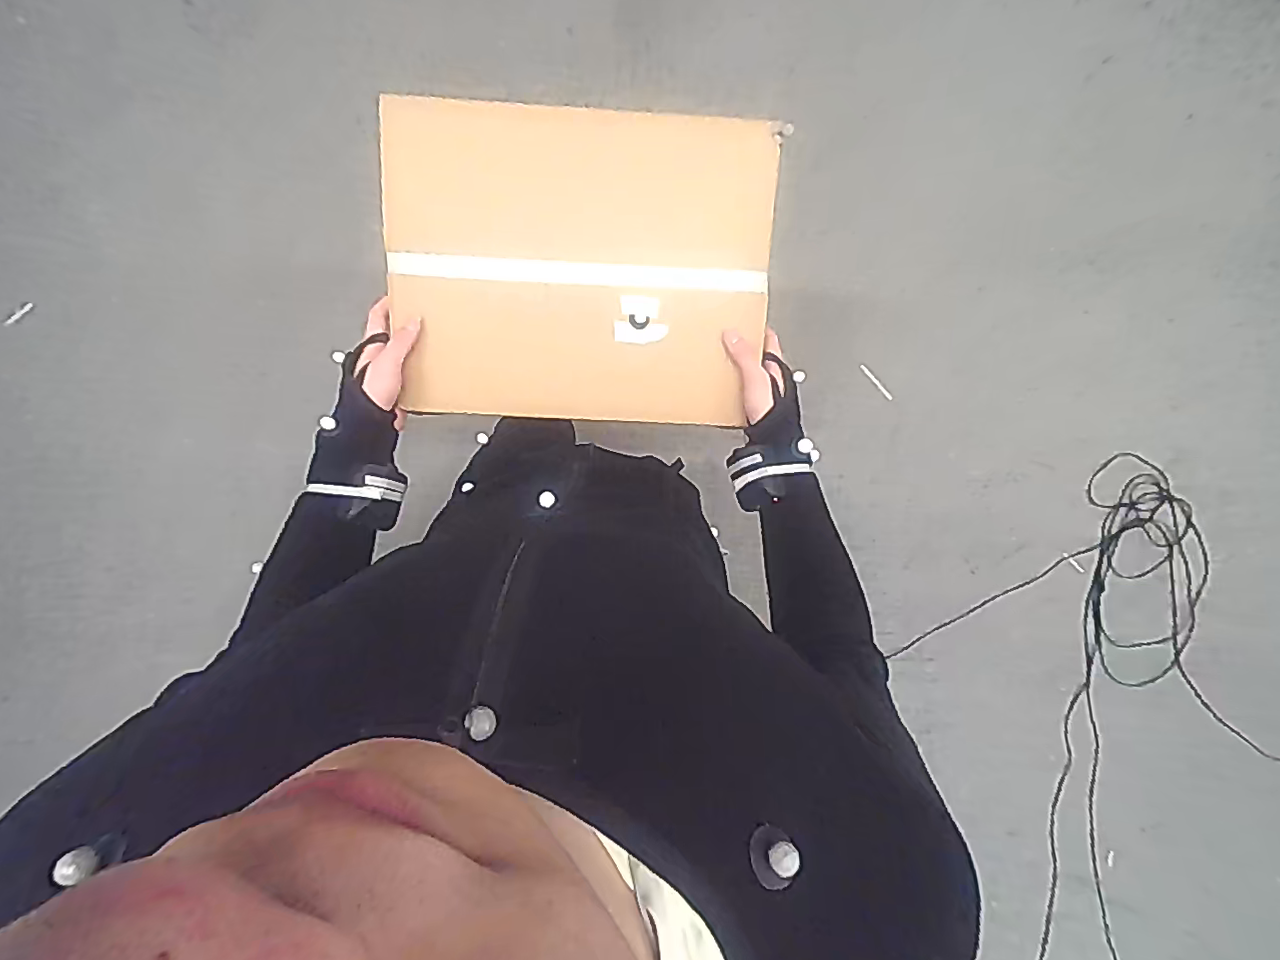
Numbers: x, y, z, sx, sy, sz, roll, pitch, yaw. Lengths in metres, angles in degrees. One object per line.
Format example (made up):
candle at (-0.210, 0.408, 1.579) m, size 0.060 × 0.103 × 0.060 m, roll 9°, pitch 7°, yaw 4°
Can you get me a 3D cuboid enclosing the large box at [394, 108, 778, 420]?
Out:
large box at (-0.065, -0.255, 0.733) m, size 0.408 × 0.320 × 0.320 m, roll 2°, pitch 103°, yaw -3°
